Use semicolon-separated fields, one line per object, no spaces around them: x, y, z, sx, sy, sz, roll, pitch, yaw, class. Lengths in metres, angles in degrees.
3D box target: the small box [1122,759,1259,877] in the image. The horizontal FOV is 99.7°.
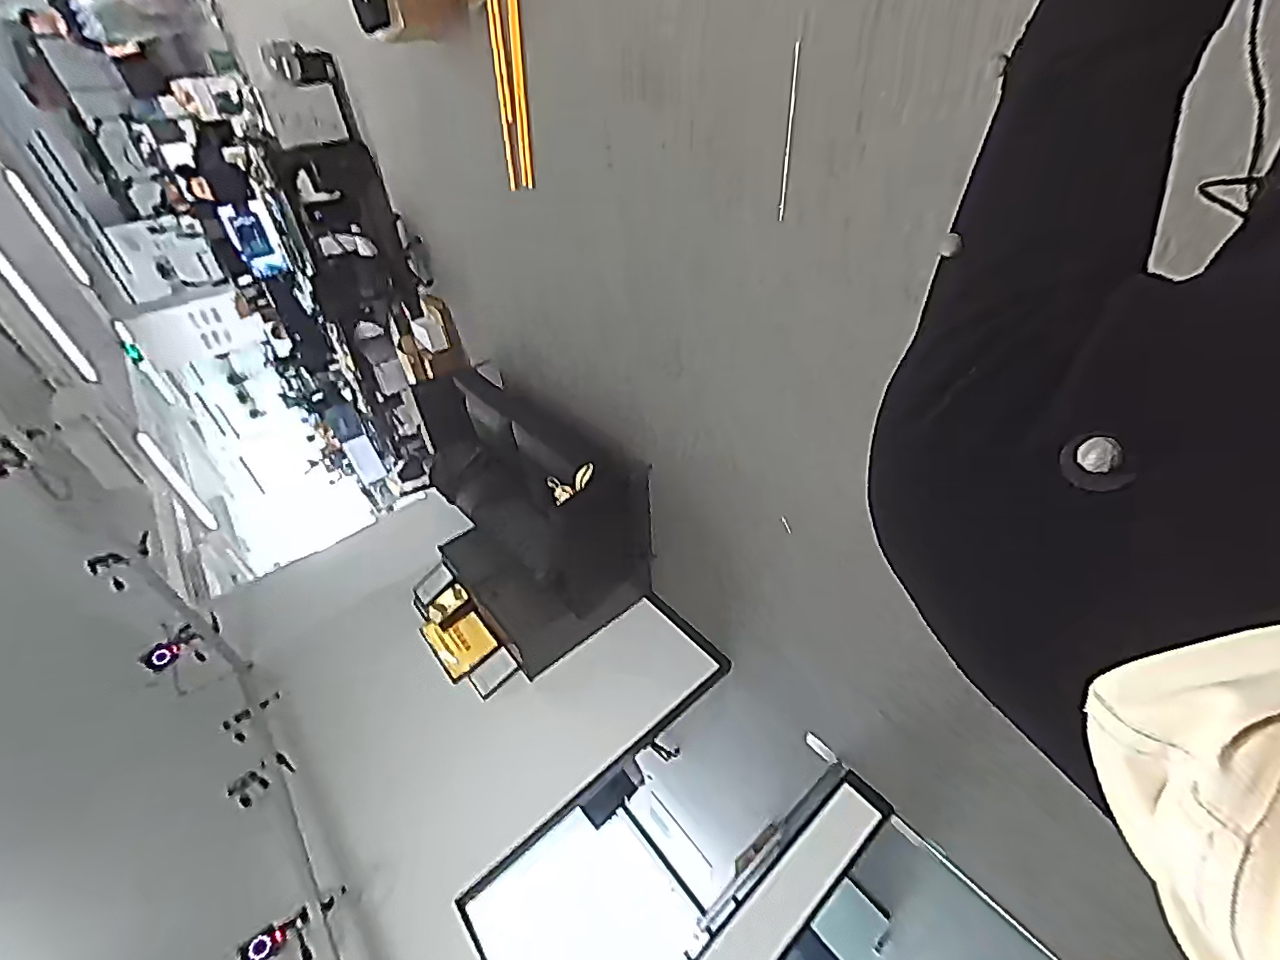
1.395;0.853;1.371;0.168;0.176;0.179;40;147;34;small box
